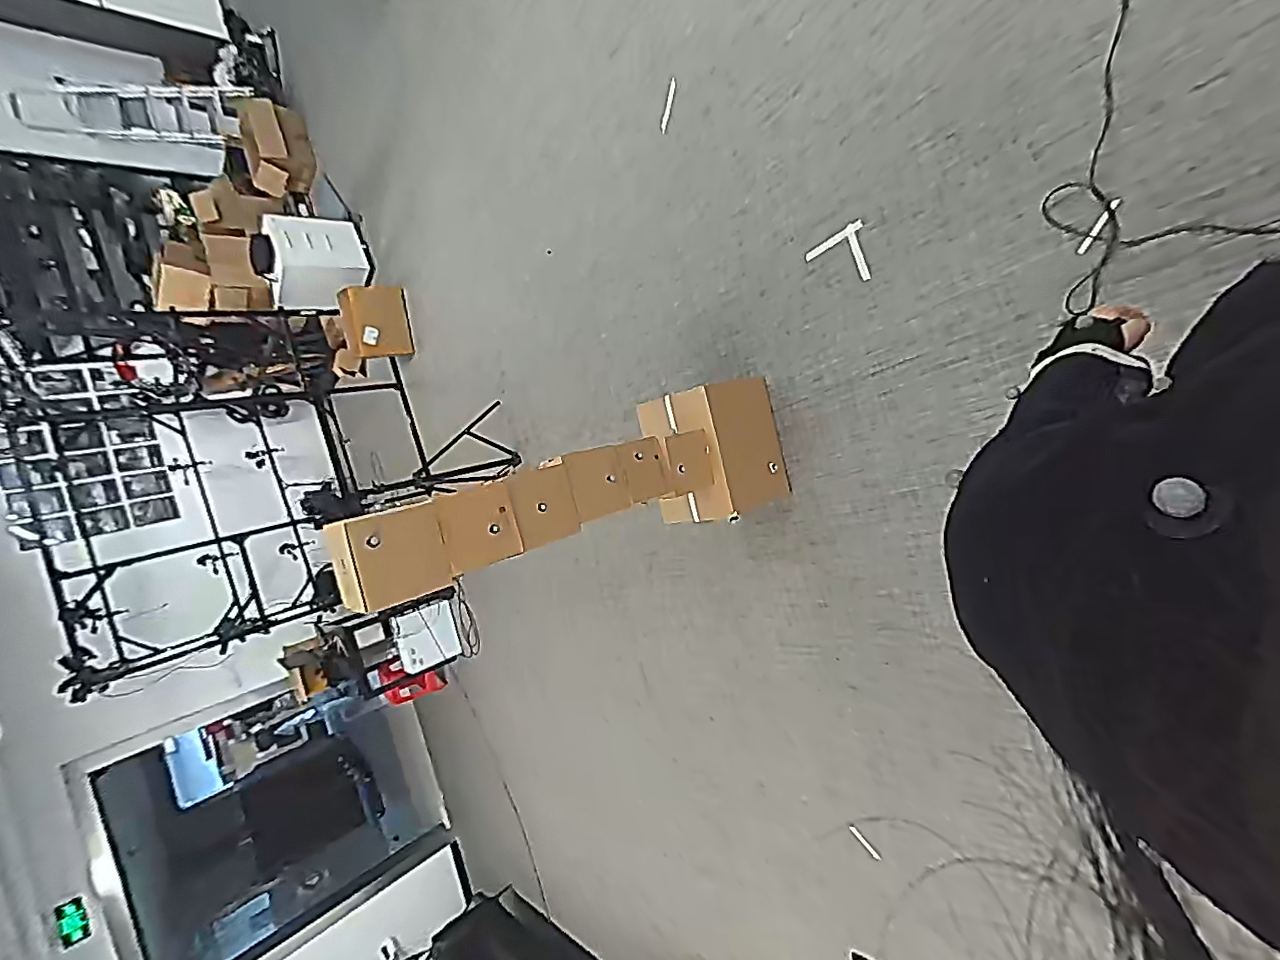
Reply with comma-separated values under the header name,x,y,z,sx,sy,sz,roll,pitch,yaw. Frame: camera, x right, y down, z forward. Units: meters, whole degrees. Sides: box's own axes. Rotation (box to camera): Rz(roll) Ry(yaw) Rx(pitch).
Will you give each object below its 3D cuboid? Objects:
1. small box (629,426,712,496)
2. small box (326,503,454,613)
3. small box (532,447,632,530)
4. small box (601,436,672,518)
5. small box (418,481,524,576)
name,x,y,z,sx,sy,sz,roll,pitch,yaw
small box,0.095,-0.054,1.607,0.168,0.176,0.179,-5,98,48
small box,-0.498,0.147,1.082,0.168,0.176,0.179,-8,97,49
small box,-0.149,0.018,1.405,0.168,0.176,0.179,-20,87,49
small box,-0.030,-0.010,1.513,0.179,0.176,0.168,-29,80,50
small box,-0.382,0.109,1.192,0.179,0.176,0.168,-15,91,49
